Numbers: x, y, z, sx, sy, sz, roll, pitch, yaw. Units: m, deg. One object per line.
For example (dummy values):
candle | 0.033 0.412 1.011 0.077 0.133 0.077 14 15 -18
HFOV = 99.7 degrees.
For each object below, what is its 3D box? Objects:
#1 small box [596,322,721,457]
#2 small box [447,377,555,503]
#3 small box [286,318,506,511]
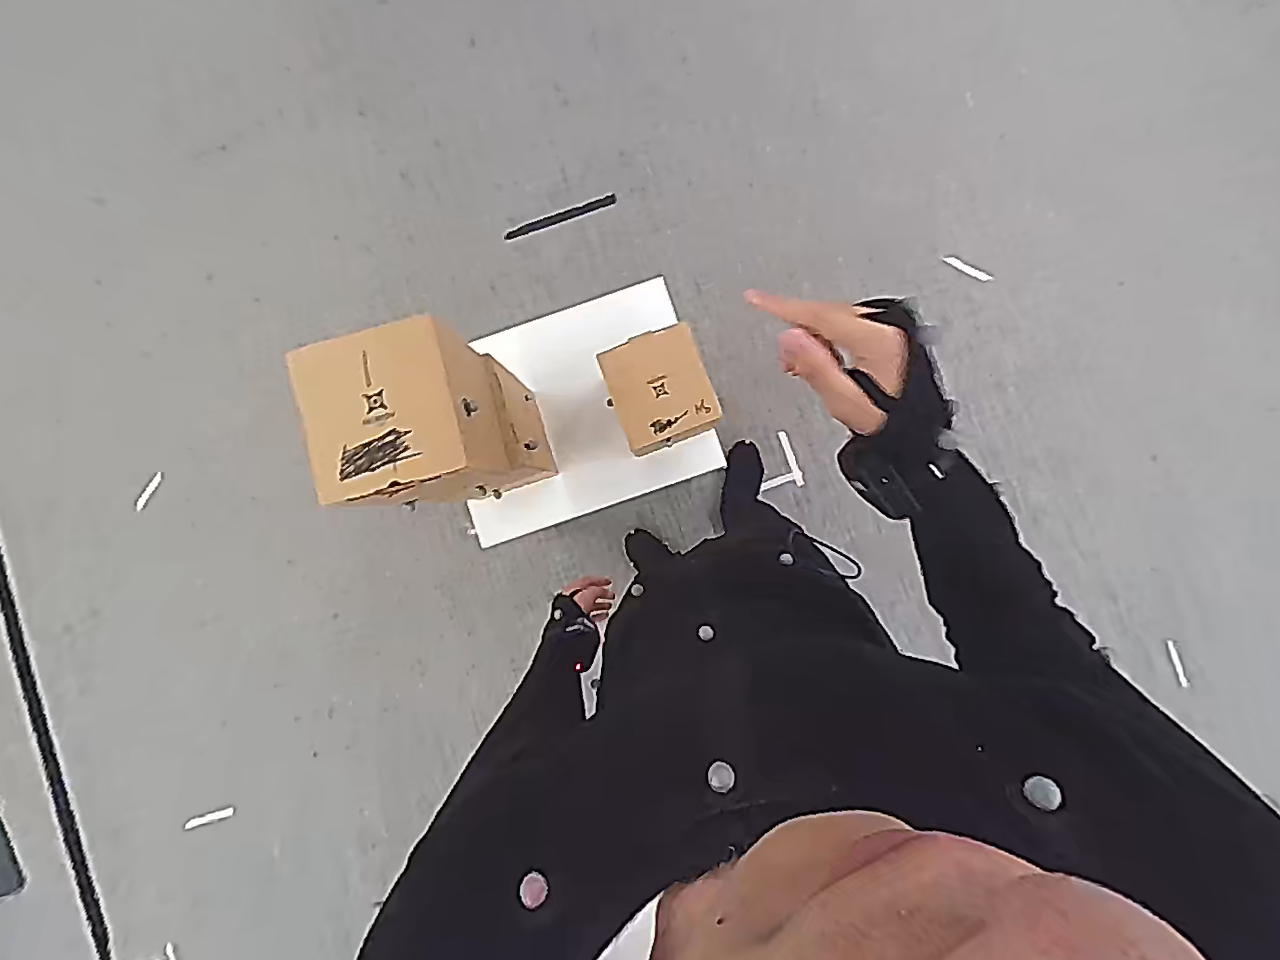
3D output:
small box | 0.032 -0.153 0.975 0.168 0.176 0.179 -21 88 2
small box | -0.264 -0.065 0.981 0.168 0.176 0.179 -18 88 0
small box | -0.276 -0.067 0.651 0.168 0.176 0.179 -15 87 1
